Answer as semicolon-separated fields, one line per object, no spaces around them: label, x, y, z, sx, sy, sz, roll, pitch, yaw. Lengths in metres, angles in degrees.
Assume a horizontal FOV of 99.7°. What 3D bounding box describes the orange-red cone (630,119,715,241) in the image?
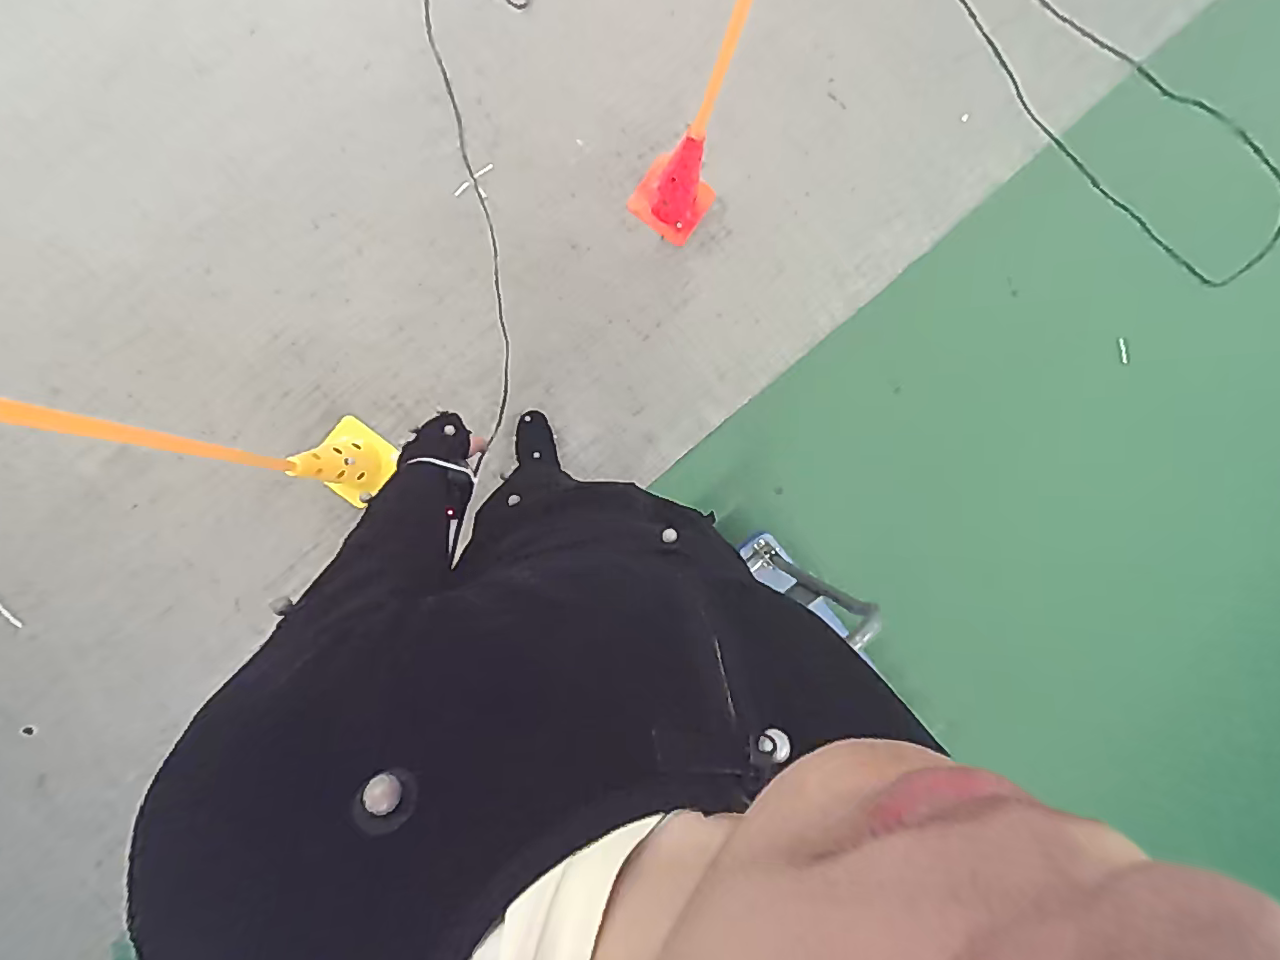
orange-red cone;0.117;-0.815;1.401;0.198;0.360;0.199;35;88;-8
